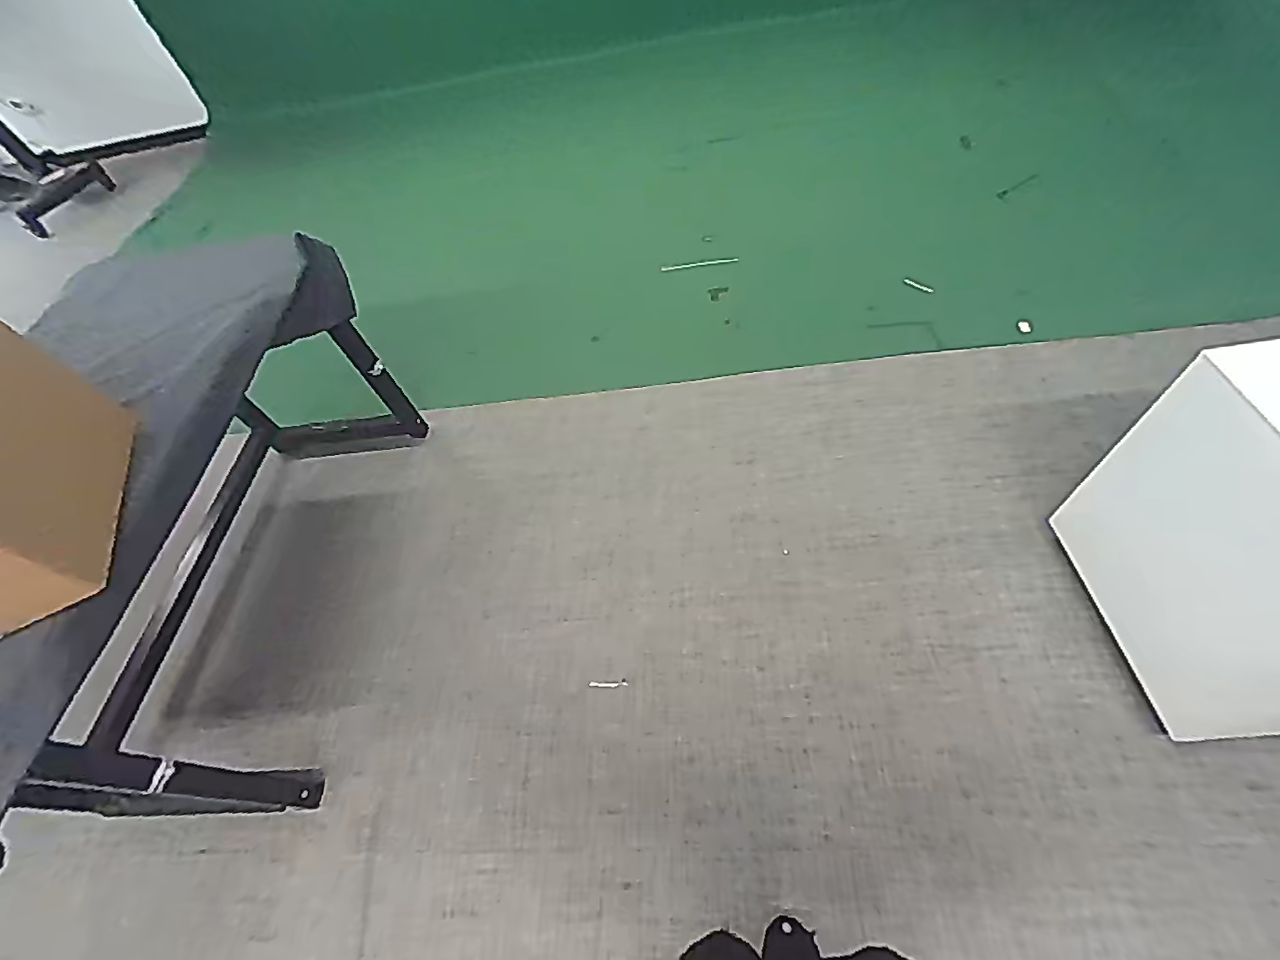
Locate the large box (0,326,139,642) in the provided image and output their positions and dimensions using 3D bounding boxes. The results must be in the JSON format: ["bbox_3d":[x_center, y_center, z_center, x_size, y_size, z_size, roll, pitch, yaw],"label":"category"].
[{"bbox_3d":[-1.013,0.013,0.767,0.320,0.320,0.408,-27,53,-8],"label":"large box"}]
